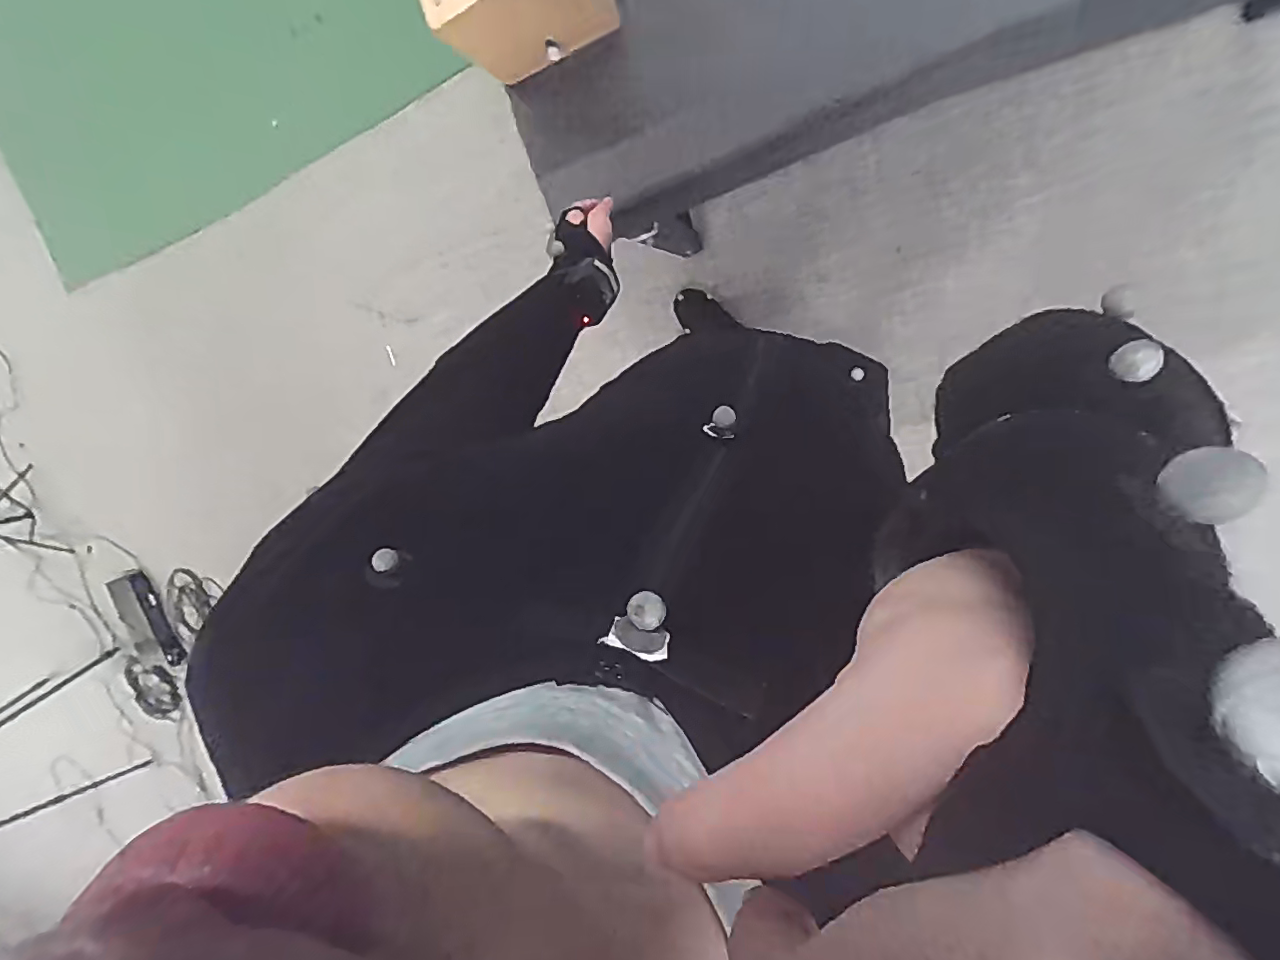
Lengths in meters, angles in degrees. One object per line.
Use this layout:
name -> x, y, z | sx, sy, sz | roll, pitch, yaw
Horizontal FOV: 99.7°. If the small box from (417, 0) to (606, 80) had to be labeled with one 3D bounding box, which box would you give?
small box -> -0.152, -0.603, 0.611 | 0.179, 0.176, 0.168 | -12, 103, 20
